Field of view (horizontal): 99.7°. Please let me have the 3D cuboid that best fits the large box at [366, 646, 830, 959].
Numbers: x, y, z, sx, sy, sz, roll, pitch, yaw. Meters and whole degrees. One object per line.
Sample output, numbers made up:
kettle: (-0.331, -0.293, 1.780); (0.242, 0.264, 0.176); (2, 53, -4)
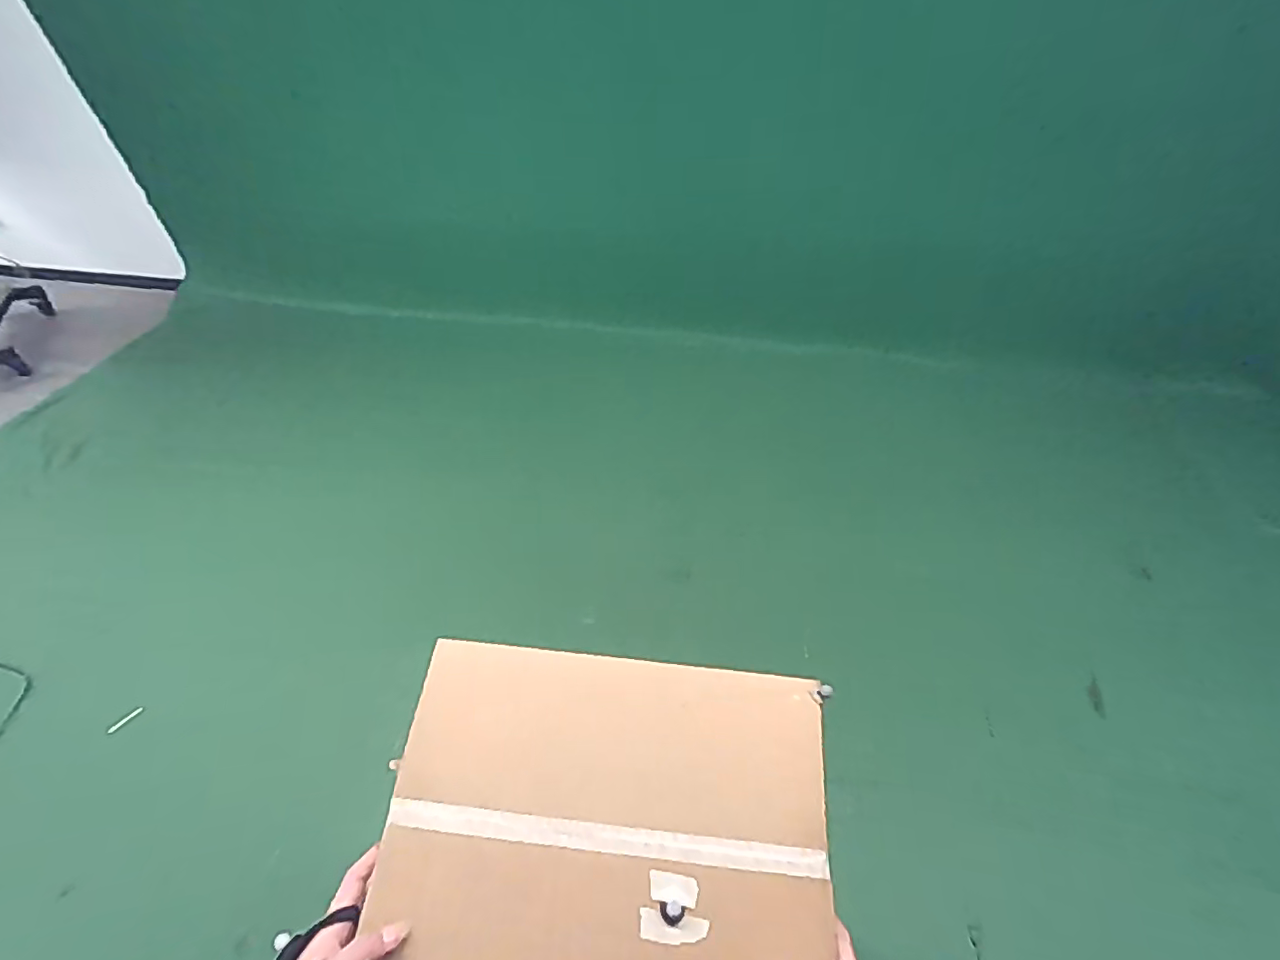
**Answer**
large box: (-0.030, 0.399, 0.635); (0.408, 0.320, 0.320); (5, 63, 2)
